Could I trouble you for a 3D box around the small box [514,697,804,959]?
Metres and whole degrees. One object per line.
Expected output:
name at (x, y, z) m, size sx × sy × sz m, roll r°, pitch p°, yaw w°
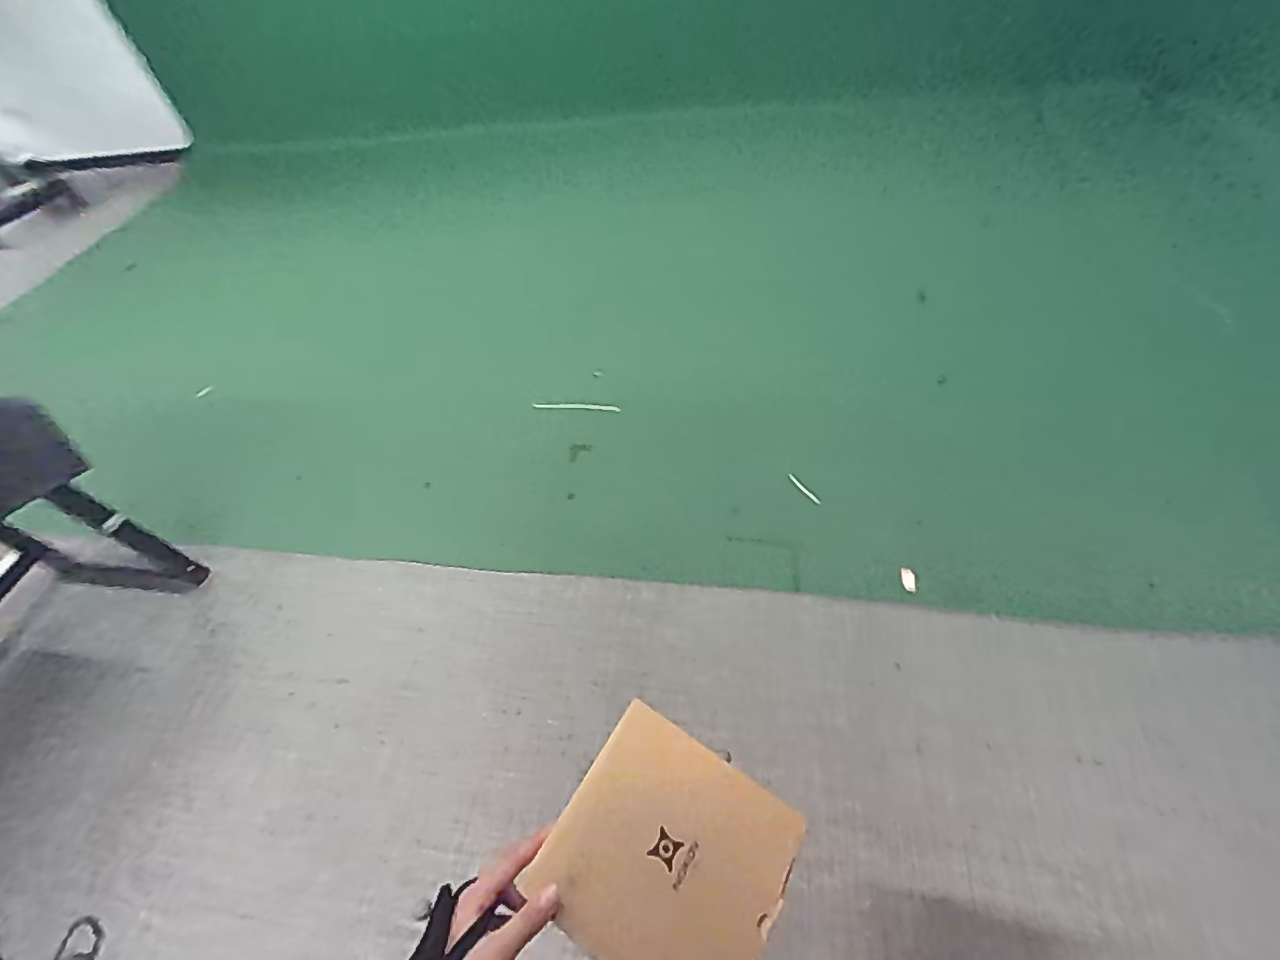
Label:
small box at (0.011, 0.332, 0.482) m, size 0.179 × 0.176 × 0.168 m, roll 30°, pitch 57°, yaw 13°
